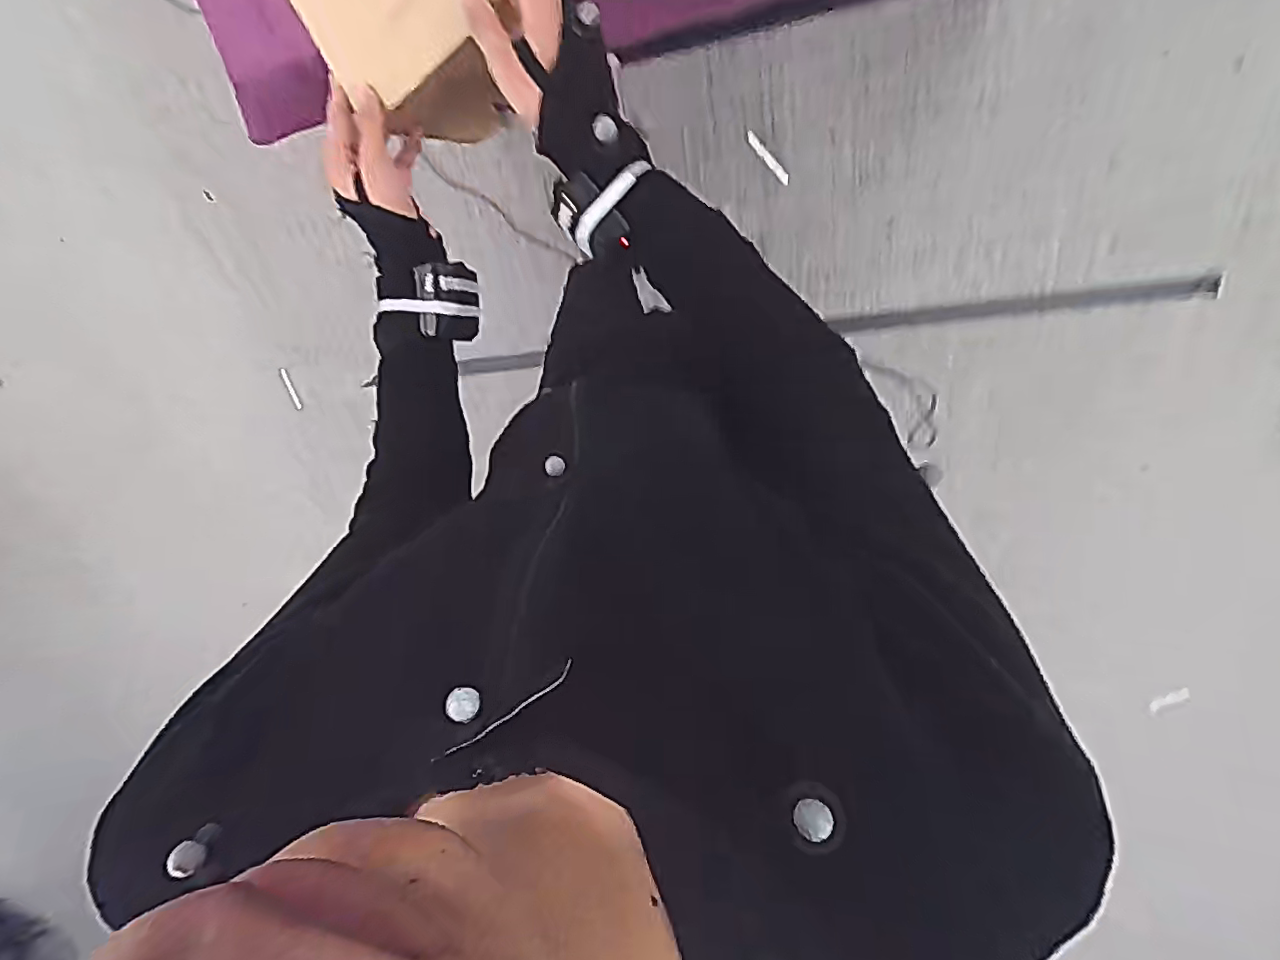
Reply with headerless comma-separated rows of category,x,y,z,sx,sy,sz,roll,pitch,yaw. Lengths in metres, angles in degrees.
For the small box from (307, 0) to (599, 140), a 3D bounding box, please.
small box,-0.165,-0.429,0.465,0.168,0.176,0.179,-16,108,29
